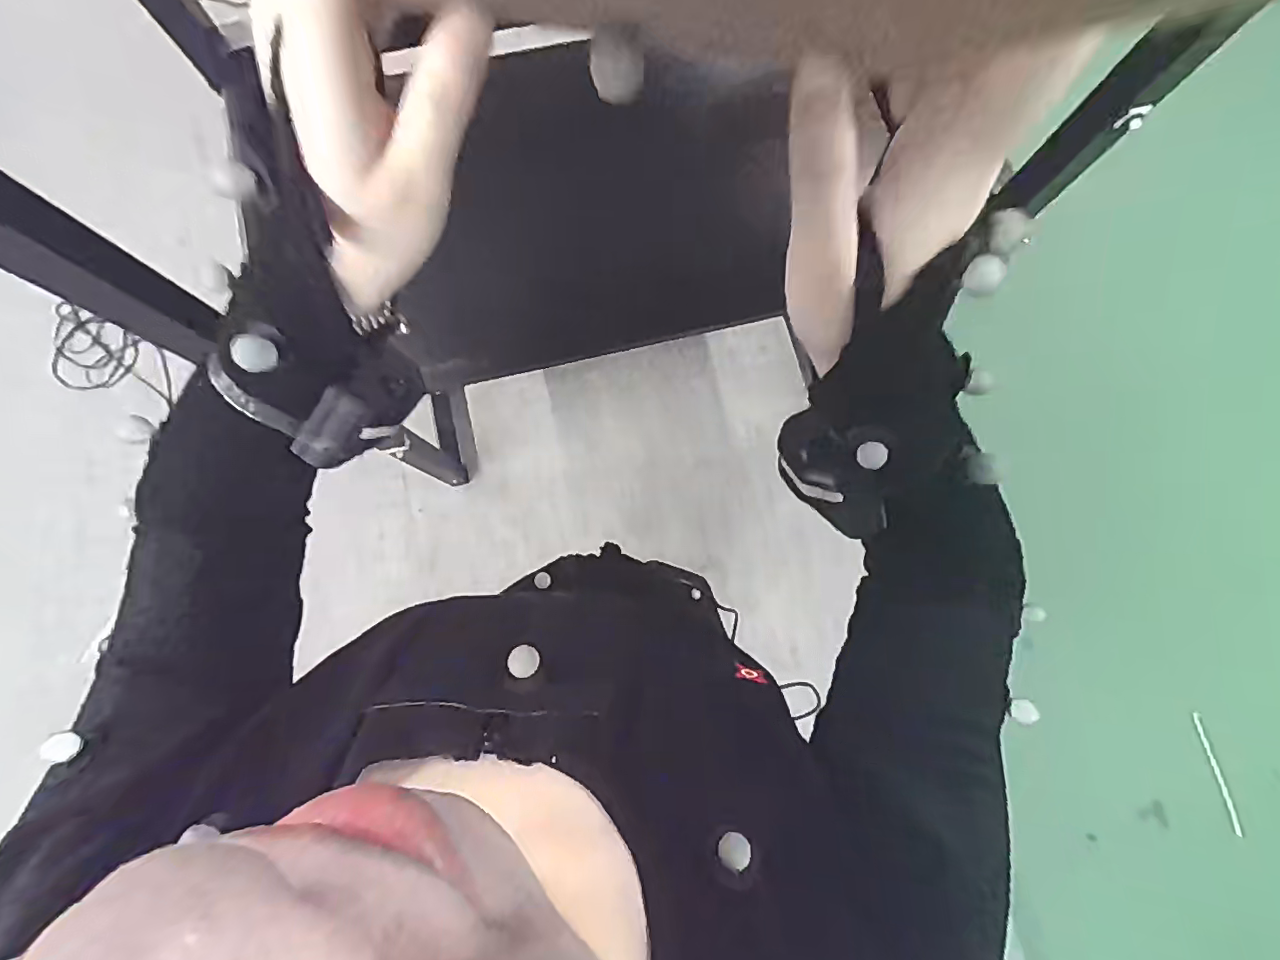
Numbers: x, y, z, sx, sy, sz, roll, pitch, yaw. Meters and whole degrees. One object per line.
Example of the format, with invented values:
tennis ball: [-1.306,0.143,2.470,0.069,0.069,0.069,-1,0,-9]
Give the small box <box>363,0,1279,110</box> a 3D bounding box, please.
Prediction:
small box: [0.012,-0.175,0.085,0.168,0.176,0.179,9,125,0]
